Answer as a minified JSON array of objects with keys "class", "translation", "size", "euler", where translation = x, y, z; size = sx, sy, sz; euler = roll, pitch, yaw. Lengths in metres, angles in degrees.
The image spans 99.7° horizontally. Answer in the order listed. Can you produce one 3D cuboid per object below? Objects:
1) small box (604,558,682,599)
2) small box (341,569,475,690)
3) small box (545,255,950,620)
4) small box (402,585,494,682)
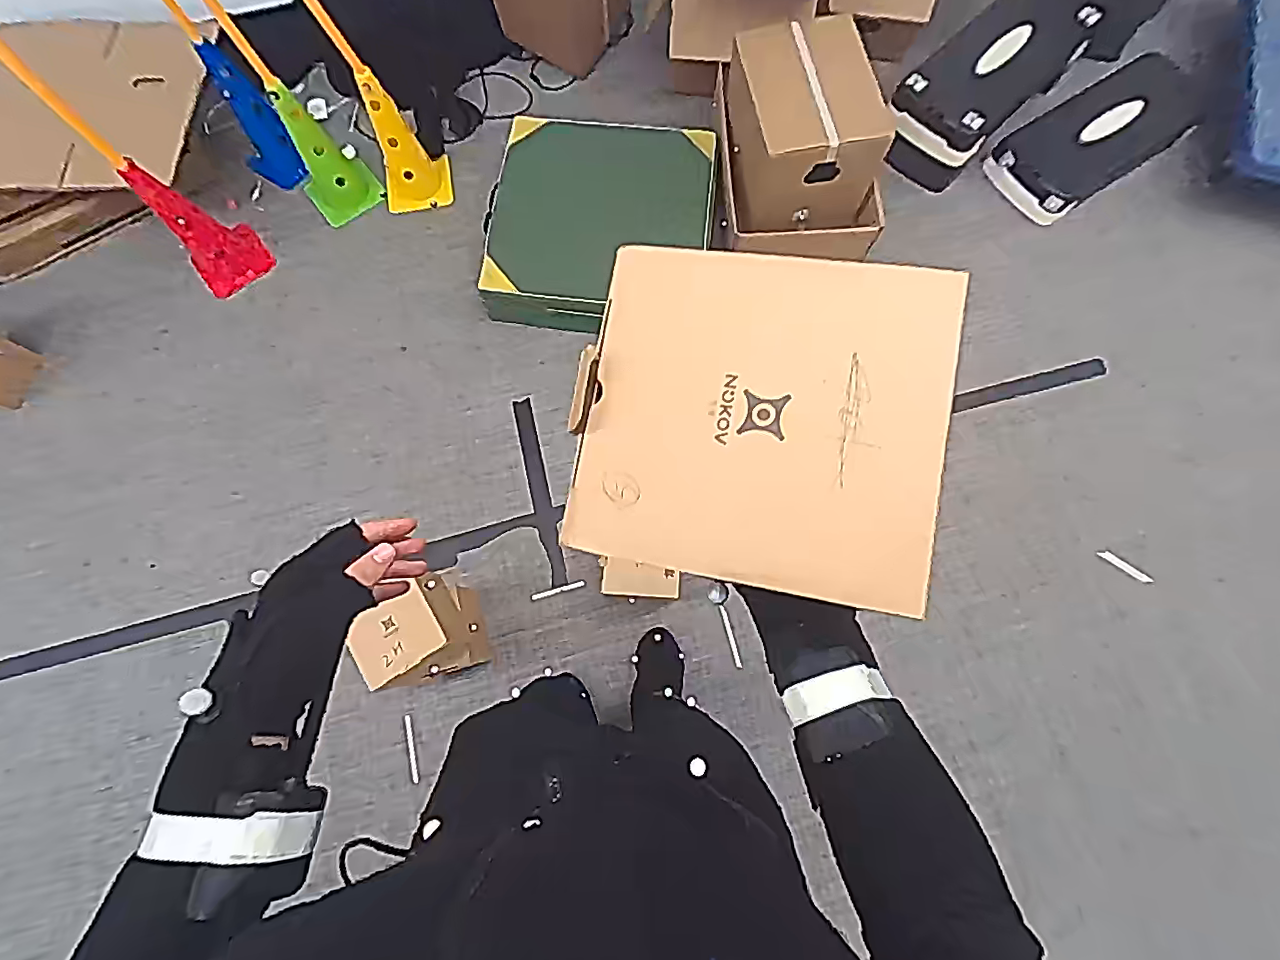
[{"class":"small box","translation":[0.010,0.198,1.303],"size":[0.179,0.176,0.168],"euler":[1,74,0]},{"class":"small box","translation":[-0.468,0.303,1.112],"size":[0.168,0.176,0.179],"euler":[-29,78,-5]},{"class":"small box","translation":[0.065,-0.019,0.345],"size":[0.179,0.176,0.168],"euler":[10,85,12]},{"class":"small box","translation":[-0.457,0.357,1.268],"size":[0.168,0.176,0.179],"euler":[-16,74,-3]}]
